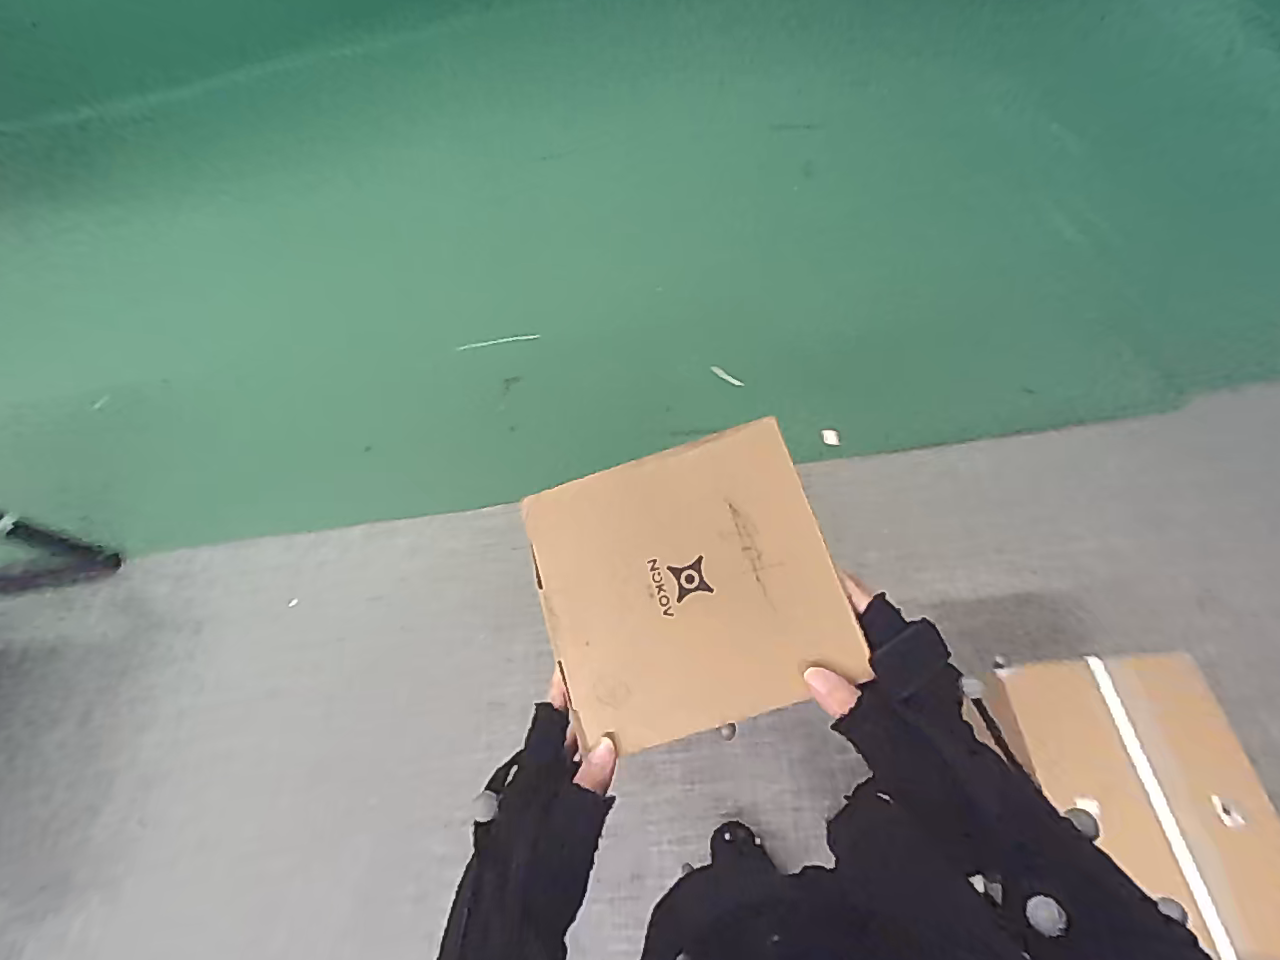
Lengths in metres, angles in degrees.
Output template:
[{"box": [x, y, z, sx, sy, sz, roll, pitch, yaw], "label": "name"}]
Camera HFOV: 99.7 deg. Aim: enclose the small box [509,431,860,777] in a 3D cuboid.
[{"box": [0.029, 0.090, 0.405, 0.179, 0.176, 0.168, -20, 75, 0], "label": "small box"}]
